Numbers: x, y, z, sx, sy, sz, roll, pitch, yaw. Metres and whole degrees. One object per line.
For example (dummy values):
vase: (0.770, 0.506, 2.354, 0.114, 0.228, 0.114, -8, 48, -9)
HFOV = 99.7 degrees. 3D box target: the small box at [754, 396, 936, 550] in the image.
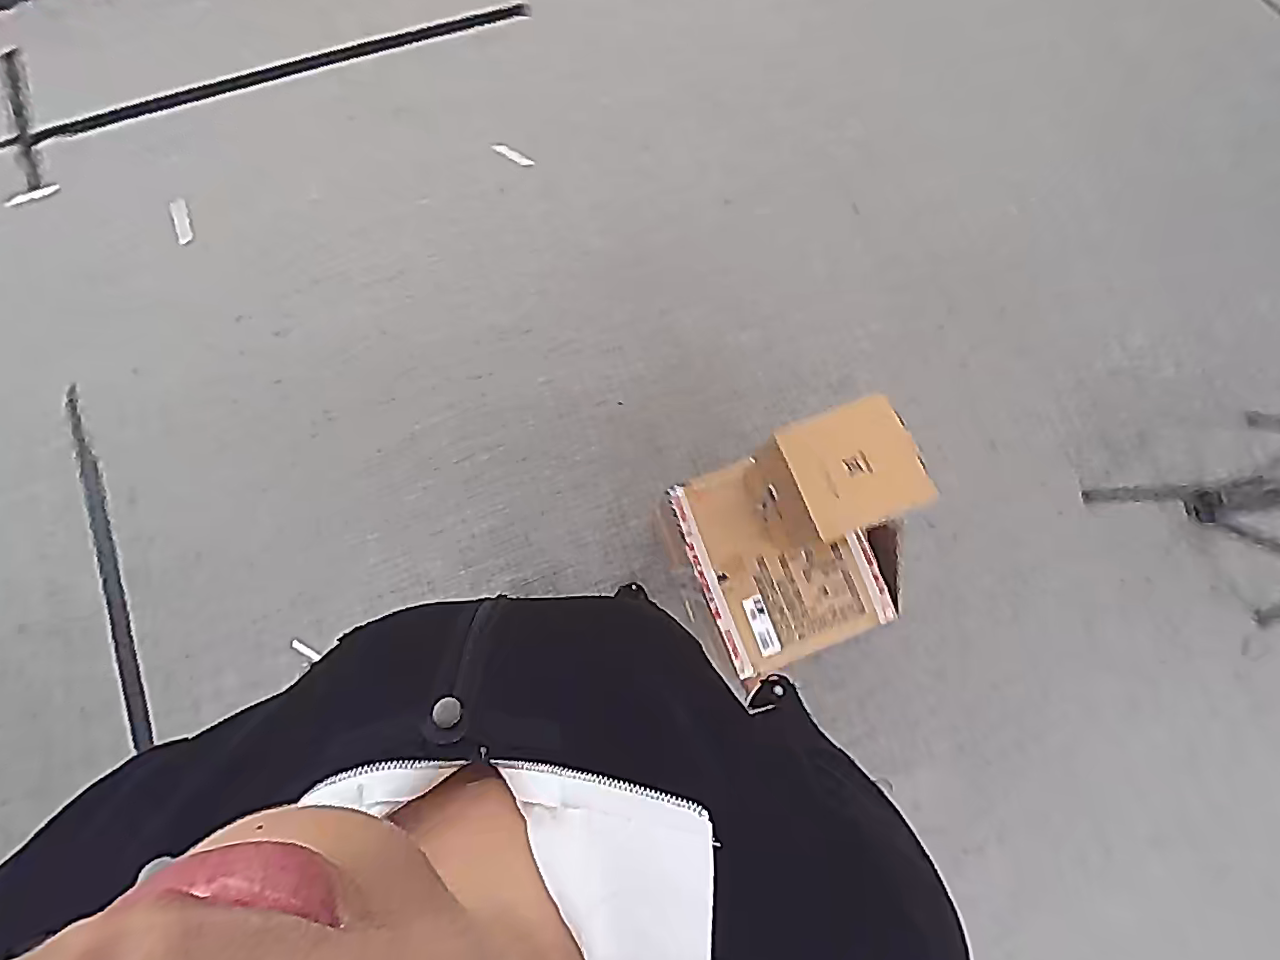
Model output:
small box: (0.294, -0.001, 0.817, 0.179, 0.176, 0.168, -21, 79, -3)

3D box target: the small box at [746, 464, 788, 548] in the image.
small box: (0.312, 0.017, 0.979, 0.179, 0.176, 0.168, -20, 80, -3)
